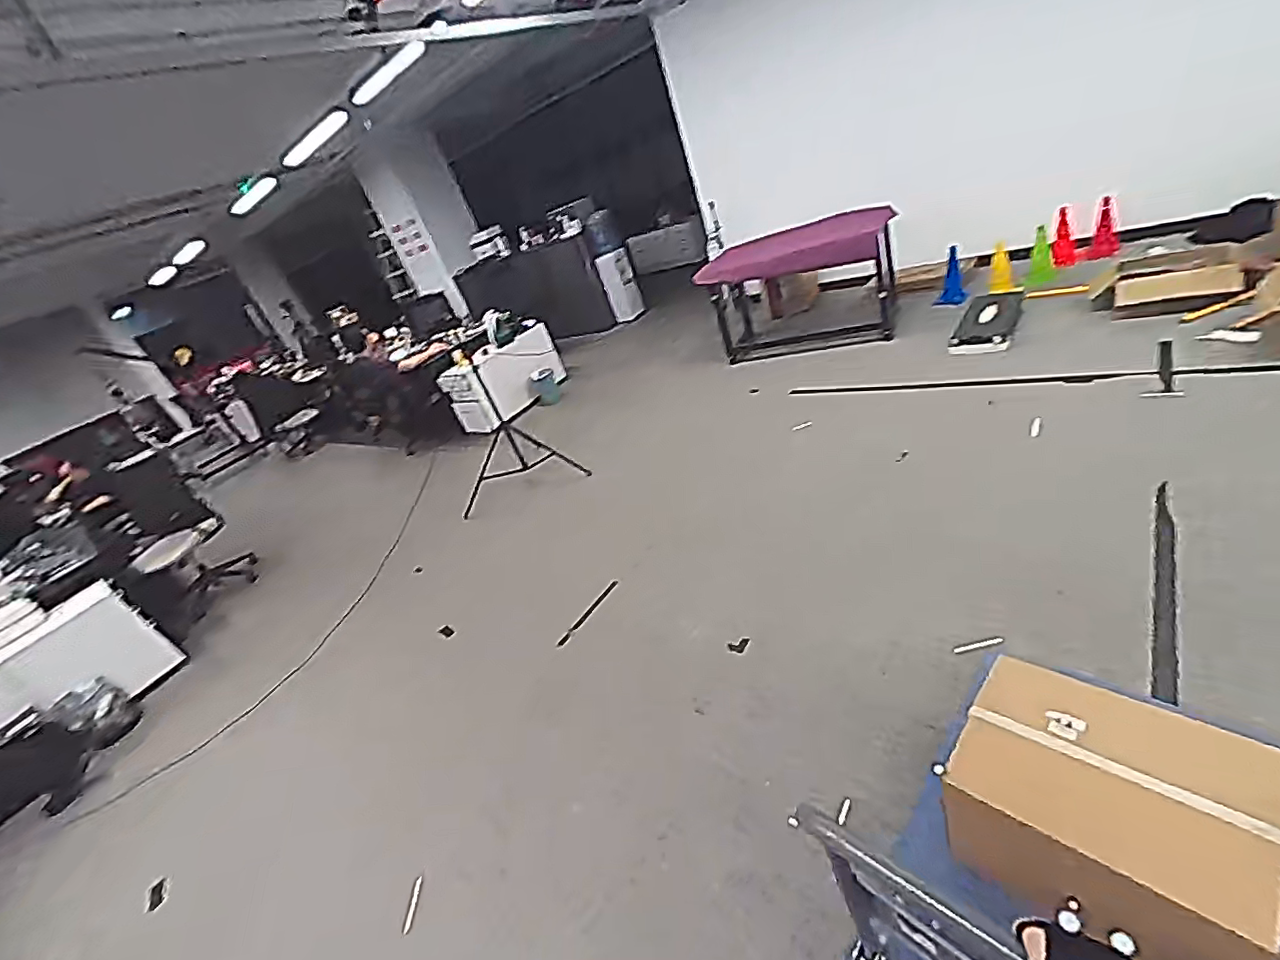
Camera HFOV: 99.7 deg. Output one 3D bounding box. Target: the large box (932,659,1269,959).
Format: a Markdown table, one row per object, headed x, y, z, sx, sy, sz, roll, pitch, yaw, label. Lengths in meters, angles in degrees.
| x | y | z | sx | sy | sz | roll | pitch | yaw | label |
| --- | --- | --- | --- | --- | --- | --- | --- | --- | --- |
| 0.818 | 0.607 | 0.990 | 0.408 | 0.320 | 0.320 | 11 | 43 | 47 | large box |
